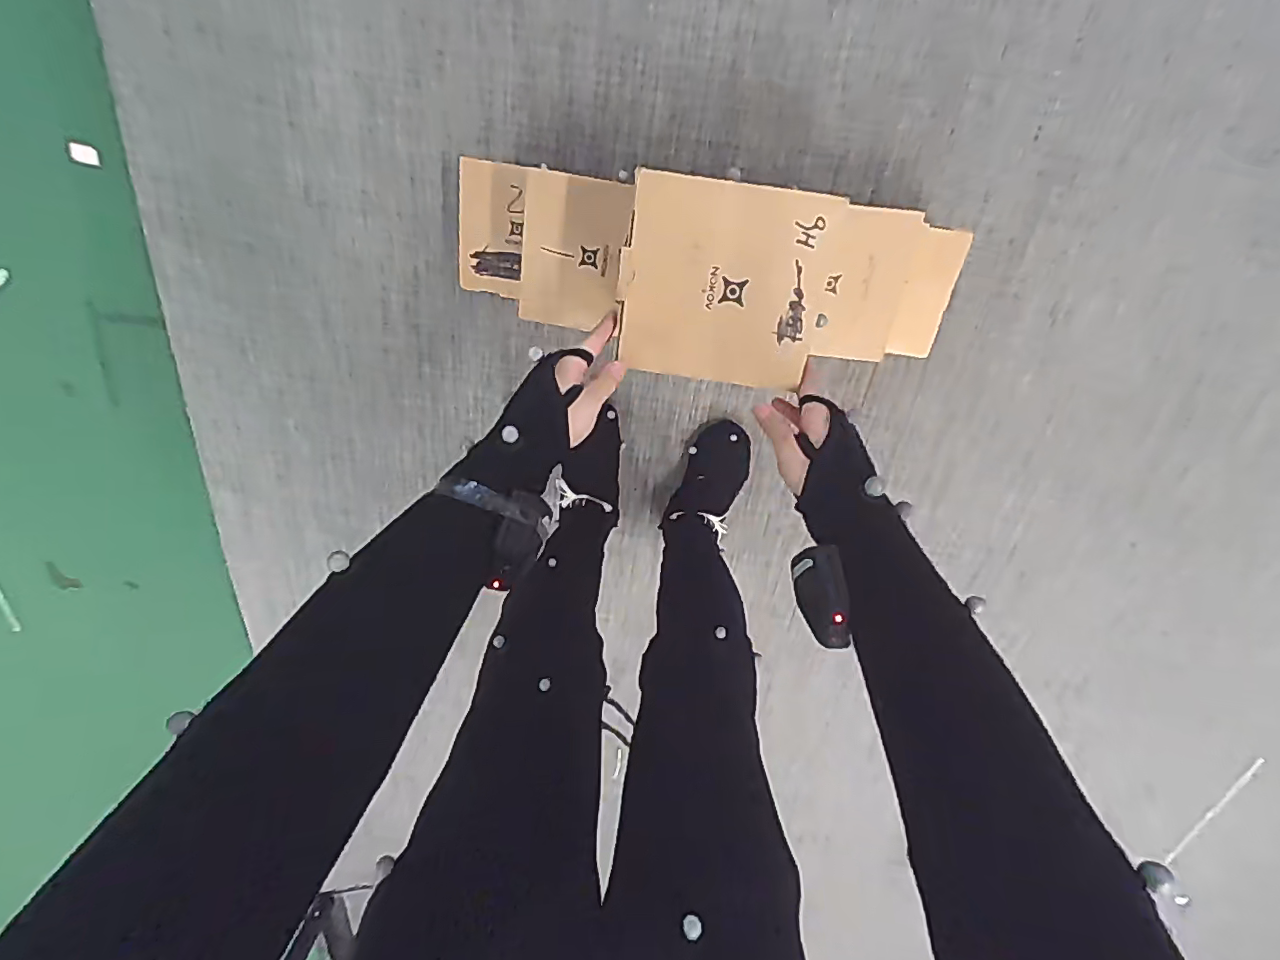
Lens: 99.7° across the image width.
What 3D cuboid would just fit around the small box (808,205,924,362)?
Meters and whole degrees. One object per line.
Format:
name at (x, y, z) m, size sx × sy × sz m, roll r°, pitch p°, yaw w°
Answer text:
small box at (0.218, -0.260, 0.690) m, size 0.179 × 0.176 × 0.168 m, roll 7°, pitch 117°, yaw 0°

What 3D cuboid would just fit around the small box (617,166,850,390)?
small box at (0.081, -0.205, 0.545) m, size 0.179 × 0.176 × 0.168 m, roll 9°, pitch 117°, yaw 1°

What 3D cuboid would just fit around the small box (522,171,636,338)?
small box at (-0.040, -0.287, 0.697) m, size 0.179 × 0.176 × 0.168 m, roll 11°, pitch 116°, yaw 1°

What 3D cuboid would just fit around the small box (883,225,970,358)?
small box at (0.363, -0.305, 0.838) m, size 0.168 × 0.176 × 0.179 m, roll 9°, pitch 116°, yaw 1°
